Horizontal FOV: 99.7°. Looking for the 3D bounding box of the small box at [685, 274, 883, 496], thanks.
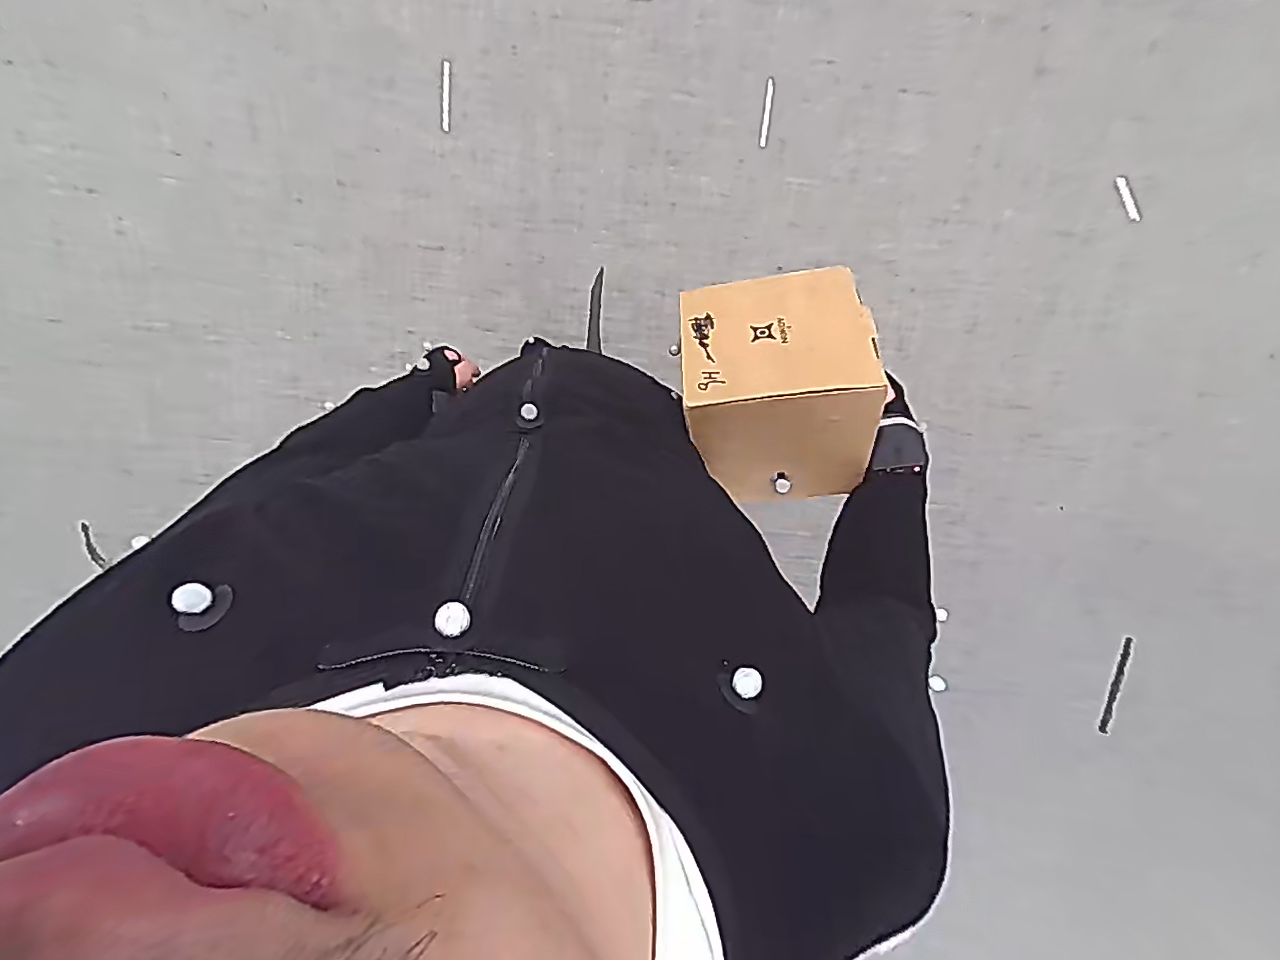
[{"bbox_3d":[0.144,-0.097,0.595,0.179,0.168,0.176,-5,144,9],"label":"small box"}]
